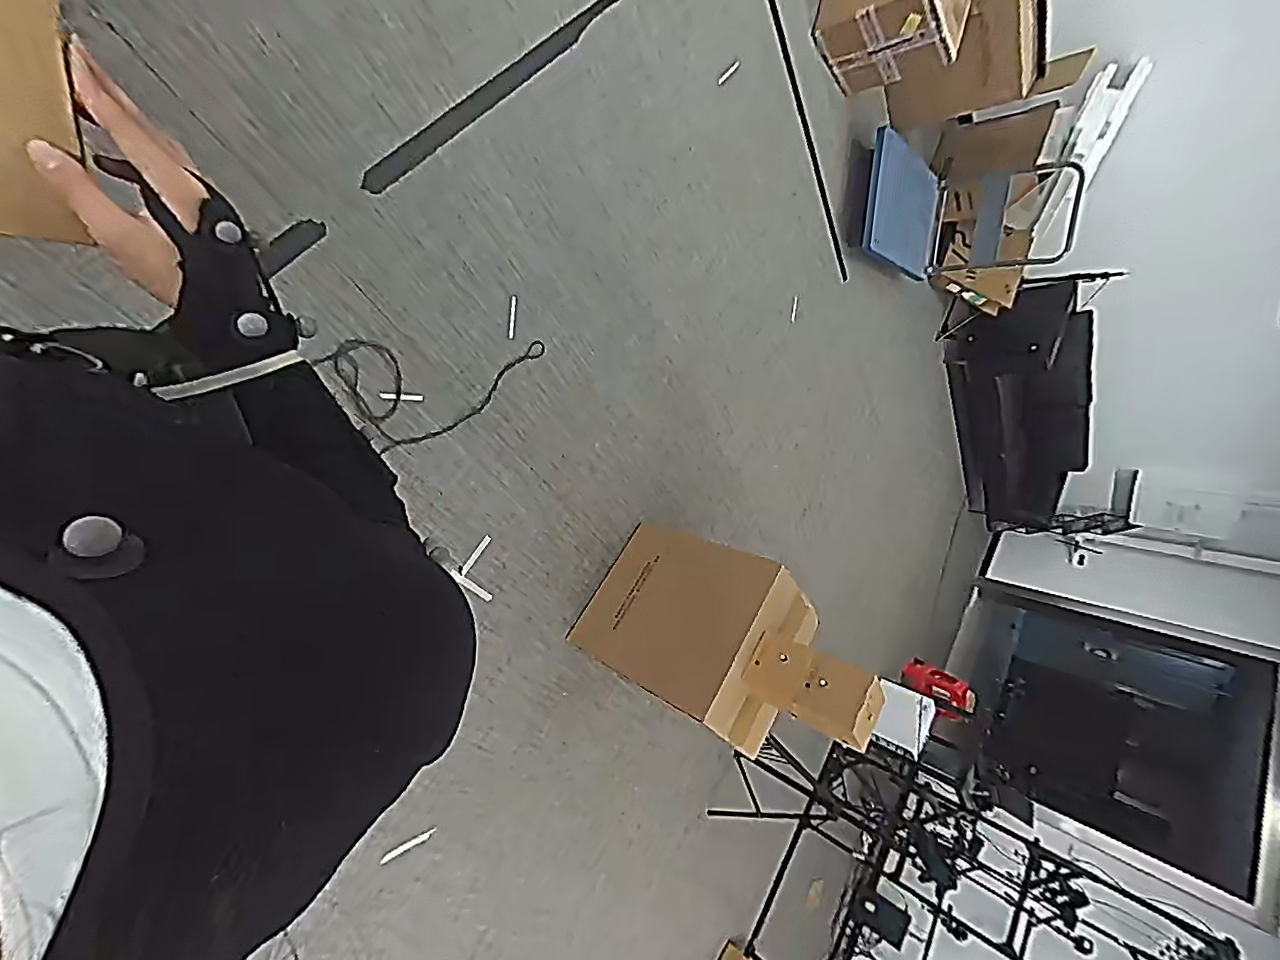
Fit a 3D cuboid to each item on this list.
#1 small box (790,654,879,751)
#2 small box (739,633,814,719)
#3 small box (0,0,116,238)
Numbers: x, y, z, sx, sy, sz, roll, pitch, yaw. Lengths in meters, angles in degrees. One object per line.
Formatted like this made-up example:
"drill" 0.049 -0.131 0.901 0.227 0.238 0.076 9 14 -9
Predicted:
"small box" 0.540 0.610 1.500 0.168 0.176 0.179 -54 133 -25
"small box" 0.418 0.578 1.608 0.168 0.176 0.179 -56 134 -23
"small box" -0.407 -0.240 0.285 0.168 0.176 0.179 -10 118 -43
